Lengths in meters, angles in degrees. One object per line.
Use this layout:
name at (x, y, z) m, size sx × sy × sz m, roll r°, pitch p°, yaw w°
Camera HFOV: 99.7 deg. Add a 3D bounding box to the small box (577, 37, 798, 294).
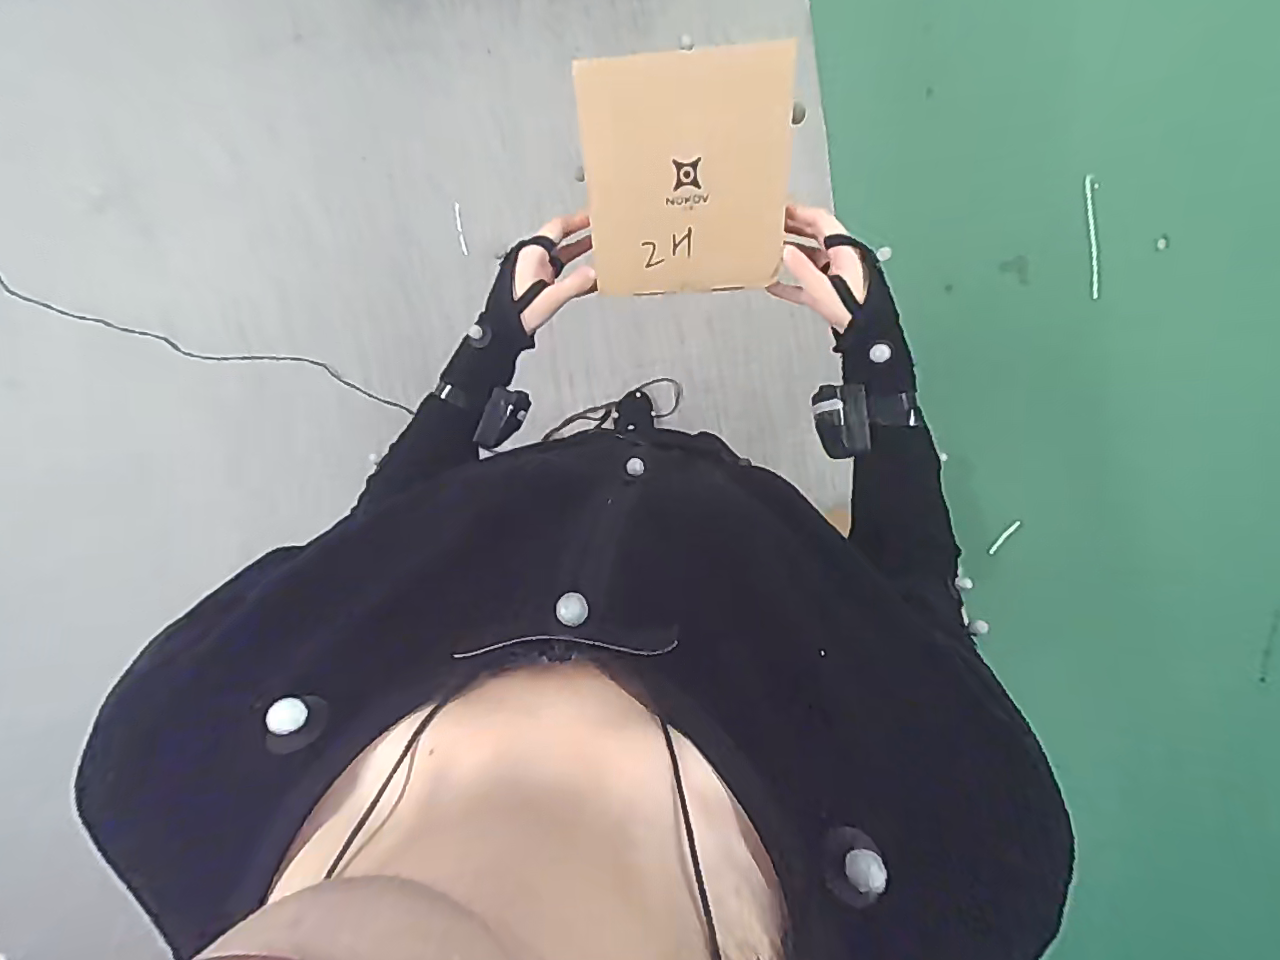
small box at (0.041, -0.288, 0.505) m, size 0.168 × 0.176 × 0.179 m, roll -1°, pitch 125°, yaw 5°
